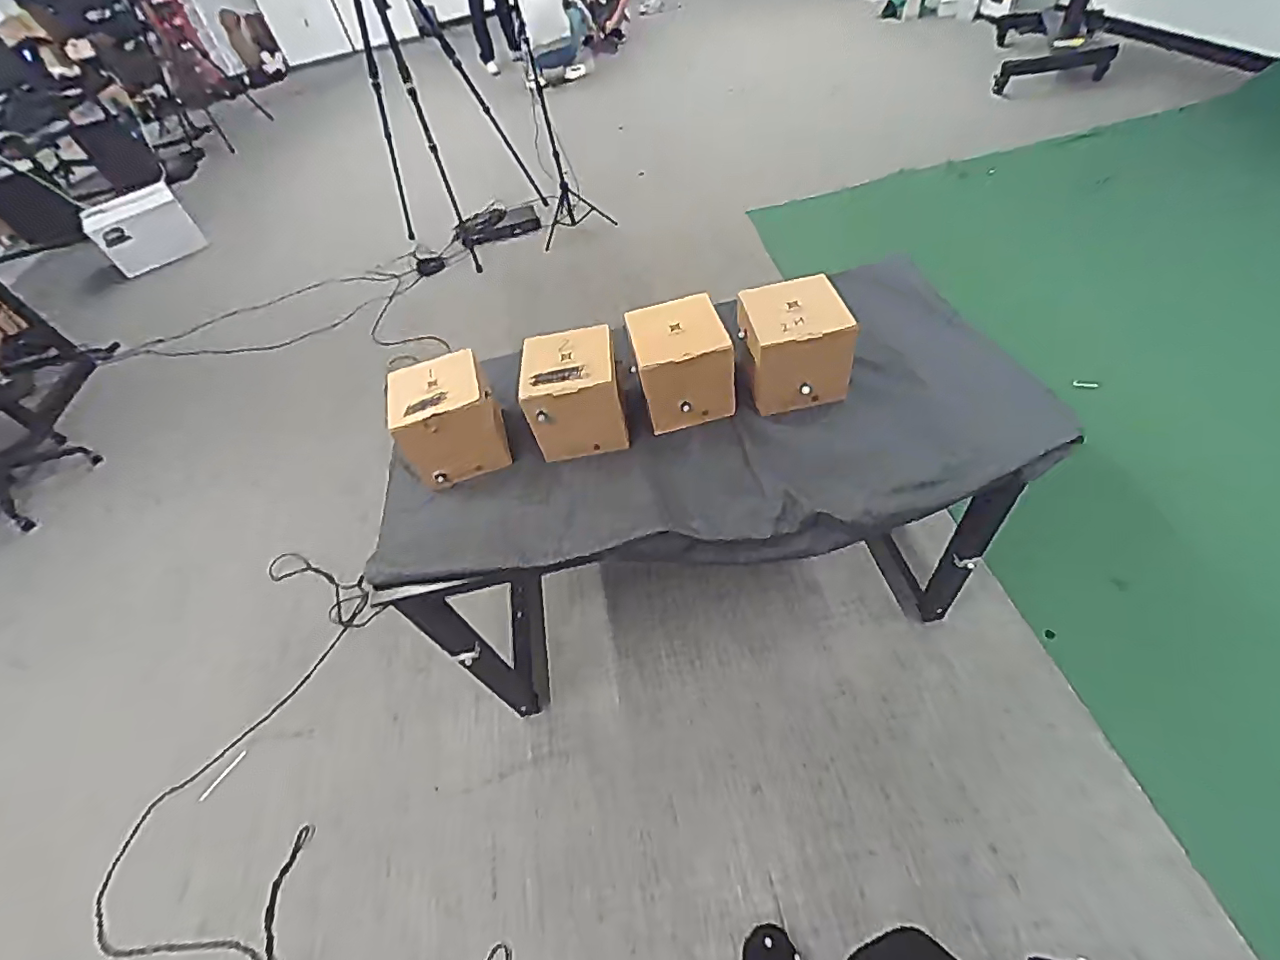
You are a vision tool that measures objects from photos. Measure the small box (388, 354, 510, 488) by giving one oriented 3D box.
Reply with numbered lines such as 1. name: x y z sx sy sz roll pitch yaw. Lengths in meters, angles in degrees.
1. small box: -0.361 -0.105 1.036 0.168 0.176 0.179 -19 48 -5
